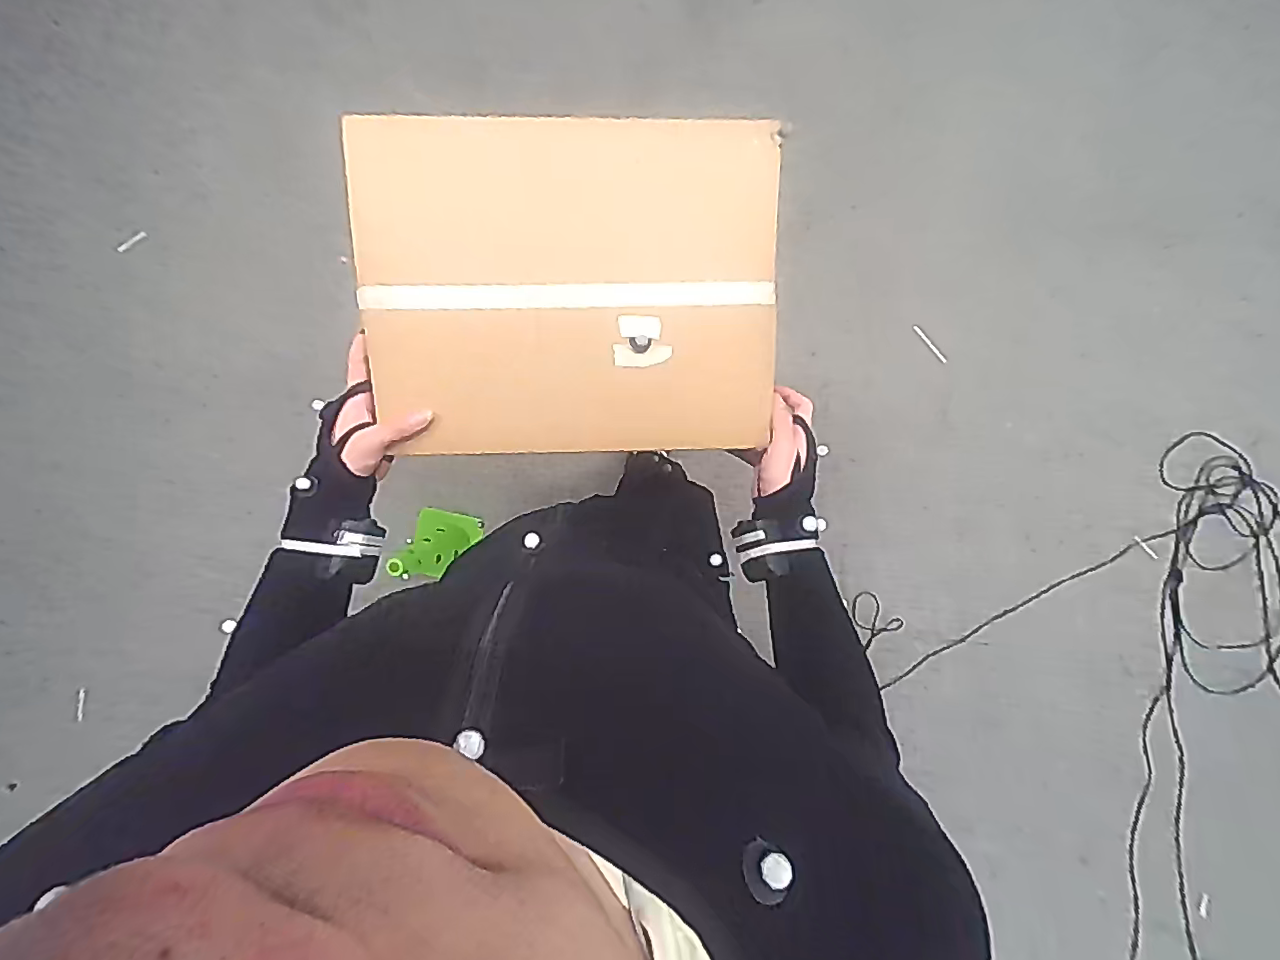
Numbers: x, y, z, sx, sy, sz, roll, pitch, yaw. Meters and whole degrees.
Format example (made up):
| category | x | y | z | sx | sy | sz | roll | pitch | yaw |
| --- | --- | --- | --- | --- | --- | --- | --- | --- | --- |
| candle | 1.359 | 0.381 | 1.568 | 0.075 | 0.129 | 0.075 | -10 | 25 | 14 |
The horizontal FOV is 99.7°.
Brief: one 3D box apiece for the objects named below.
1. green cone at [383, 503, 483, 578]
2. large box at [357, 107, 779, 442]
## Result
| category | x | y | z | sx | sy | sz | roll | pitch | yaw |
| --- | --- | --- | --- | --- | --- | --- | --- | --- | --- |
| green cone | -0.586 | 0.190 | 1.450 | 0.200 | 0.368 | 0.202 | 12 | 93 | 0 |
| large box | -0.072 | -0.228 | 0.683 | 0.408 | 0.320 | 0.320 | -2 | 103 | -4 |
